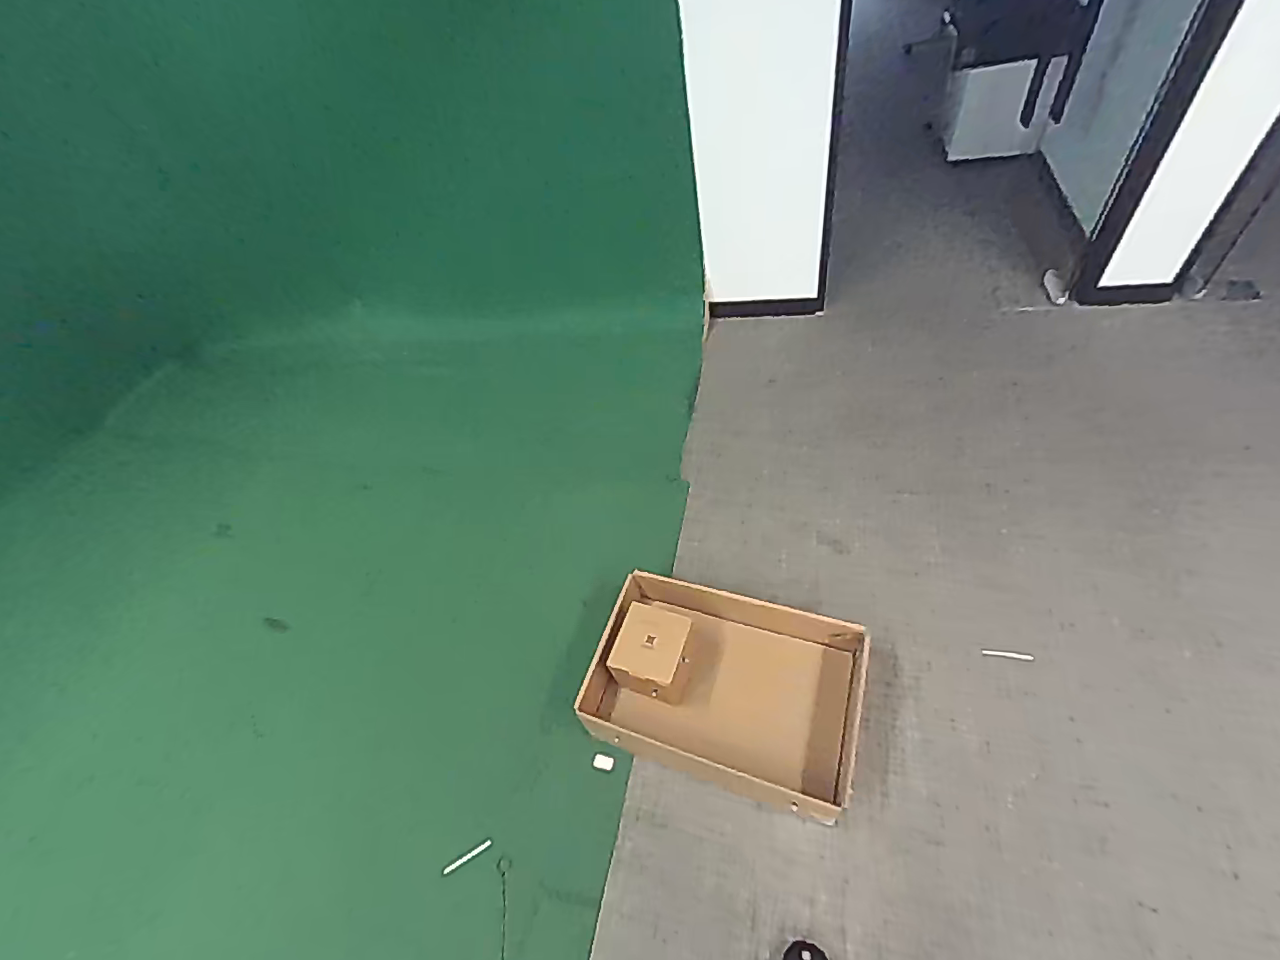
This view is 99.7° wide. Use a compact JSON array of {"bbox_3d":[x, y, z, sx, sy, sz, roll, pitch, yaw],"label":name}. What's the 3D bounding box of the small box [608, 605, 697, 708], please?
[{"bbox_3d":[0.041,0.450,1.366,0.168,0.176,0.179,12,56,20],"label":"small box"}]
